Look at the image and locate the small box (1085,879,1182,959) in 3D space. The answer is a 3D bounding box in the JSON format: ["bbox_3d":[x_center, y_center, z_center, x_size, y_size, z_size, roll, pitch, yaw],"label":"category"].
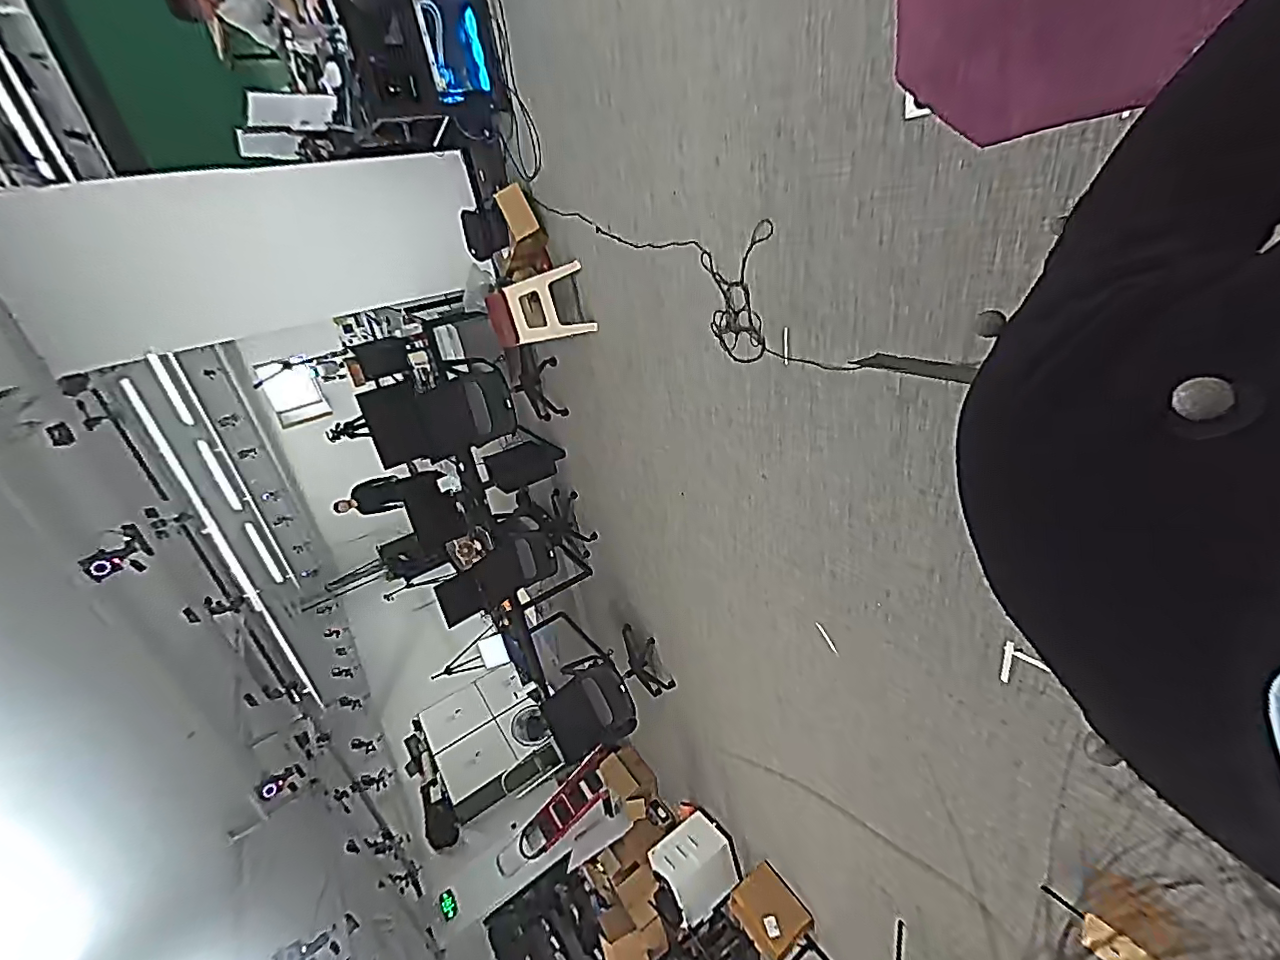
[{"bbox_3d":[1.495,1.379,1.639,0.168,0.176,0.179,22,130,53],"label":"small box"}]
